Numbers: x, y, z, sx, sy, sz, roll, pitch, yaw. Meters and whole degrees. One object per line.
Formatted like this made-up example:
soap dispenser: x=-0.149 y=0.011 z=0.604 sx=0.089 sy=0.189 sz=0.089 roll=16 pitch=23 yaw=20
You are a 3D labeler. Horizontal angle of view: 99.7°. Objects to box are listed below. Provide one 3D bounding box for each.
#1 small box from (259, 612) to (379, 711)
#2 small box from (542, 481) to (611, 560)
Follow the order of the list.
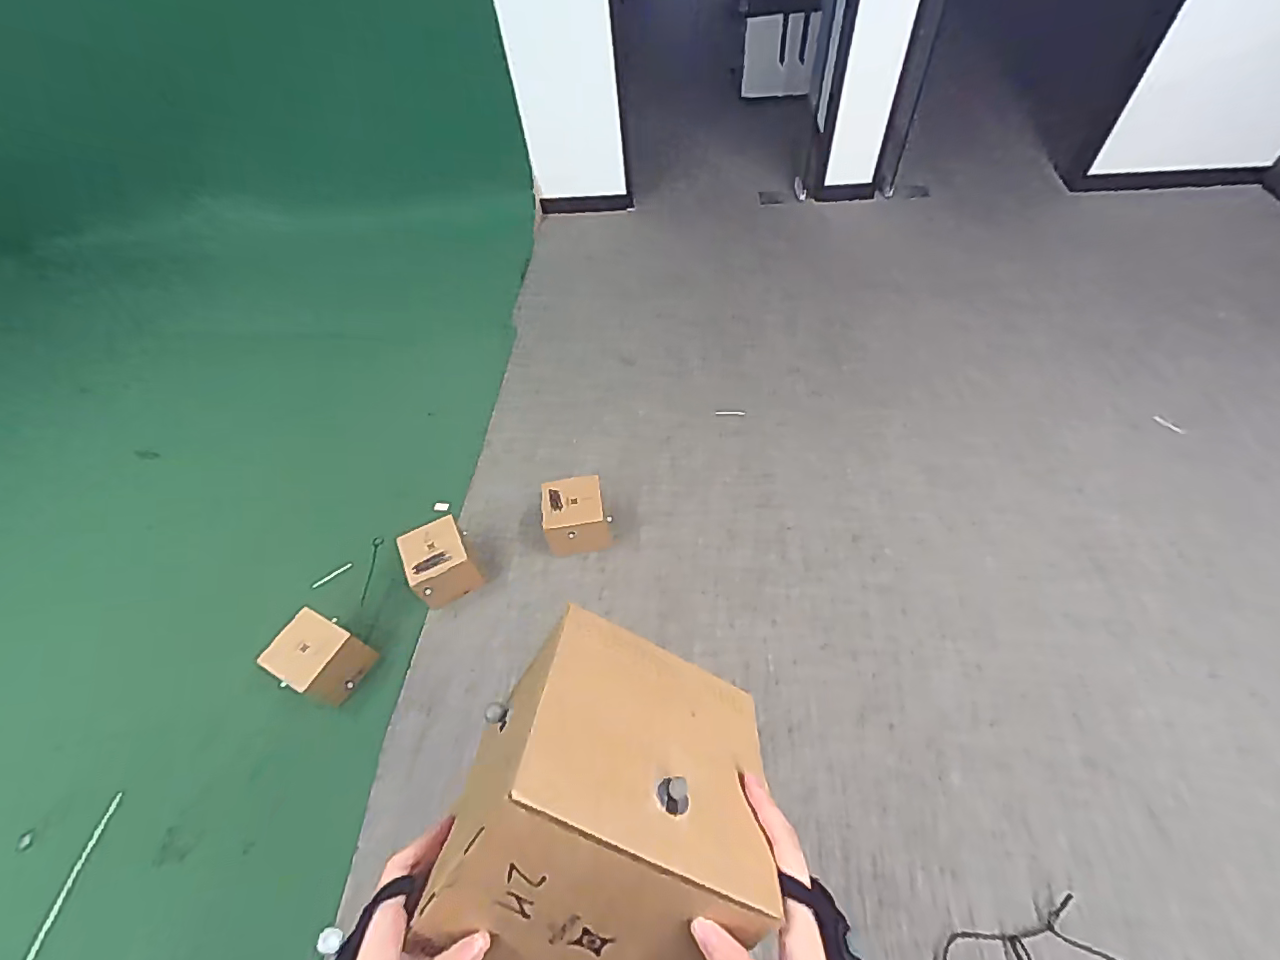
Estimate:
small box: x=-0.839 y=0.483 z=1.429 sx=0.179 sy=0.176 sz=0.168 roll=21 pitch=58 yaw=20
small box: x=-0.191 y=0.126 z=1.630 sx=0.179 sy=0.176 sz=0.168 roll=-8 pitch=53 yaw=-2
